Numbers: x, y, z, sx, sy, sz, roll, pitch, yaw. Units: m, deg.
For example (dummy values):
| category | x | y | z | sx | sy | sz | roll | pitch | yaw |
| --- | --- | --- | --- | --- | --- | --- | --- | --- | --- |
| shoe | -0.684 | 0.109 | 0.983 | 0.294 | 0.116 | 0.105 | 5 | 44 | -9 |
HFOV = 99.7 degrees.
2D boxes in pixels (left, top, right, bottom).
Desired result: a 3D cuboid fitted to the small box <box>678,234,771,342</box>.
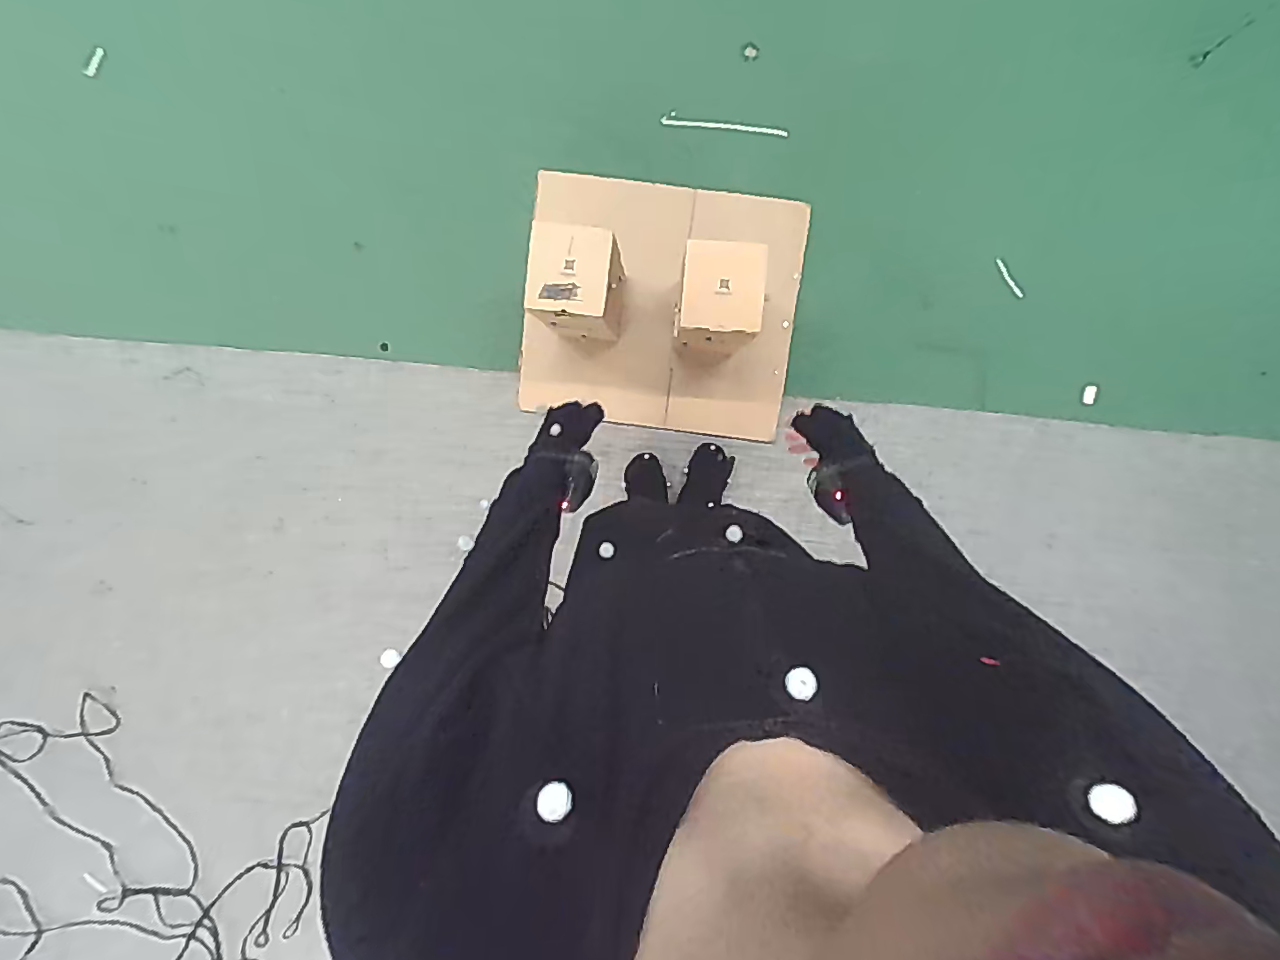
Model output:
| category | x | y | z | sx | sy | sz | roll | pitch | yaw |
| --- | --- | --- | --- | --- | --- | --- | --- | --- | --- |
| small box | 0.172 | -0.400 | 1.150 | 0.168 | 0.176 | 0.179 | 4 | 97 | 1 |

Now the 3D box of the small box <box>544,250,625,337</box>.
| category | x | y | z | sx | sy | sz | roll | pitch | yaw |
| --- | --- | --- | --- | --- | --- | --- | --- | --- | --- |
| small box | -0.129 | -0.454 | 1.315 | 0.168 | 0.176 | 0.179 | 6 | 98 | 3 |

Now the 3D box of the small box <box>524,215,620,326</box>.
| category | x | y | z | sx | sy | sz | roll | pitch | yaw |
| --- | --- | --- | --- | --- | --- | --- | --- | --- | --- |
| small box | -0.137 | -0.436 | 1.151 | 0.168 | 0.176 | 0.179 | 8 | 96 | 2 |
